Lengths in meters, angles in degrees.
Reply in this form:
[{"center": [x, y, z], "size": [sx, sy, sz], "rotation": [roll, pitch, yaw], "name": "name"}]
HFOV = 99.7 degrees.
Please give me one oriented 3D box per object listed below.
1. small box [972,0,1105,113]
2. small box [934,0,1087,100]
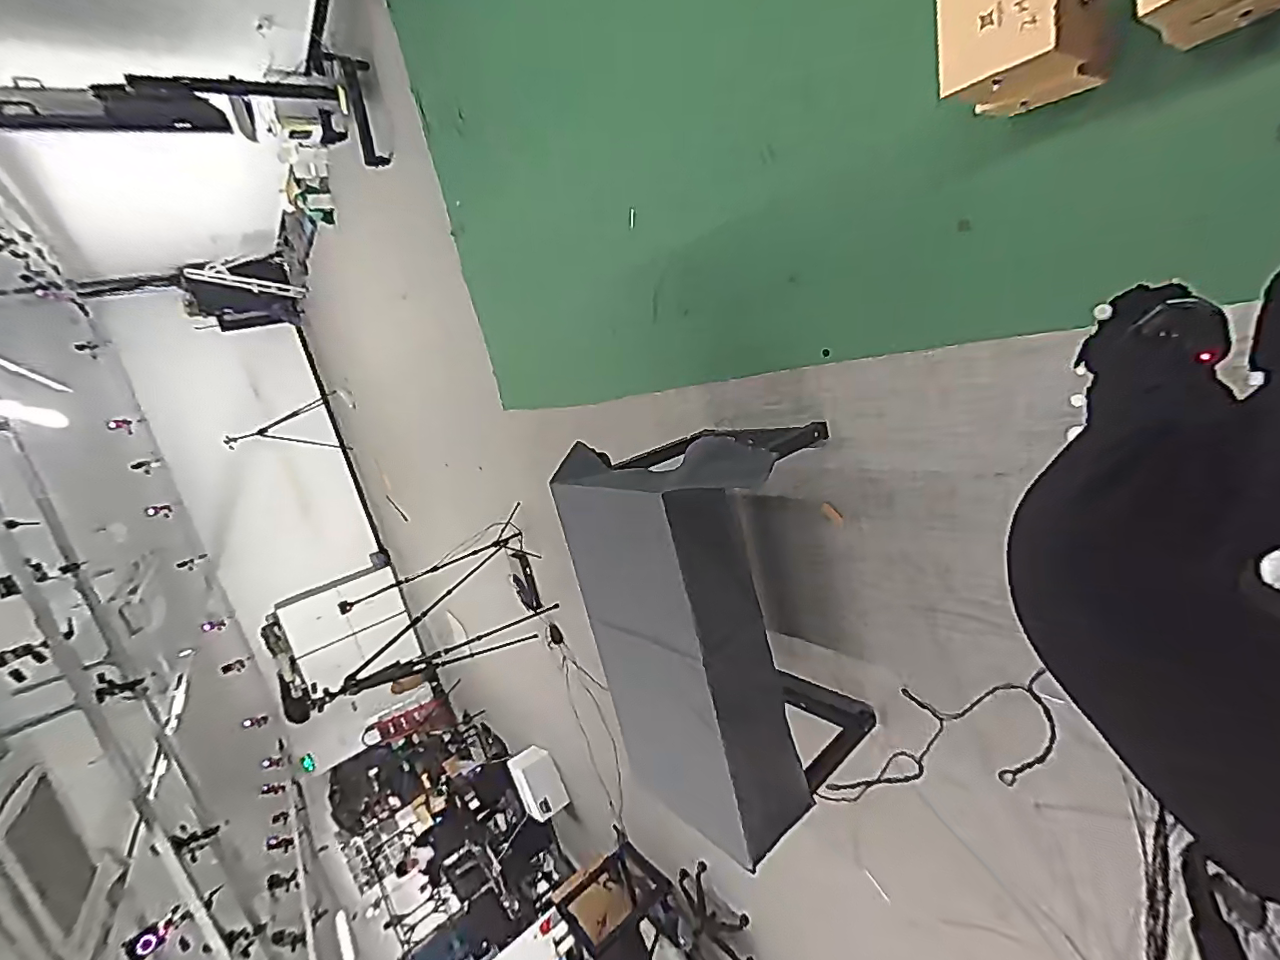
[{"center": [0.759, -0.828, 1.033], "size": [0.168, 0.176, 0.179], "rotation": [11, 117, 52], "name": "small box"}, {"center": [0.636, -0.786, 0.932], "size": [0.179, 0.176, 0.168], "rotation": [10, 116, 52], "name": "small box"}]
